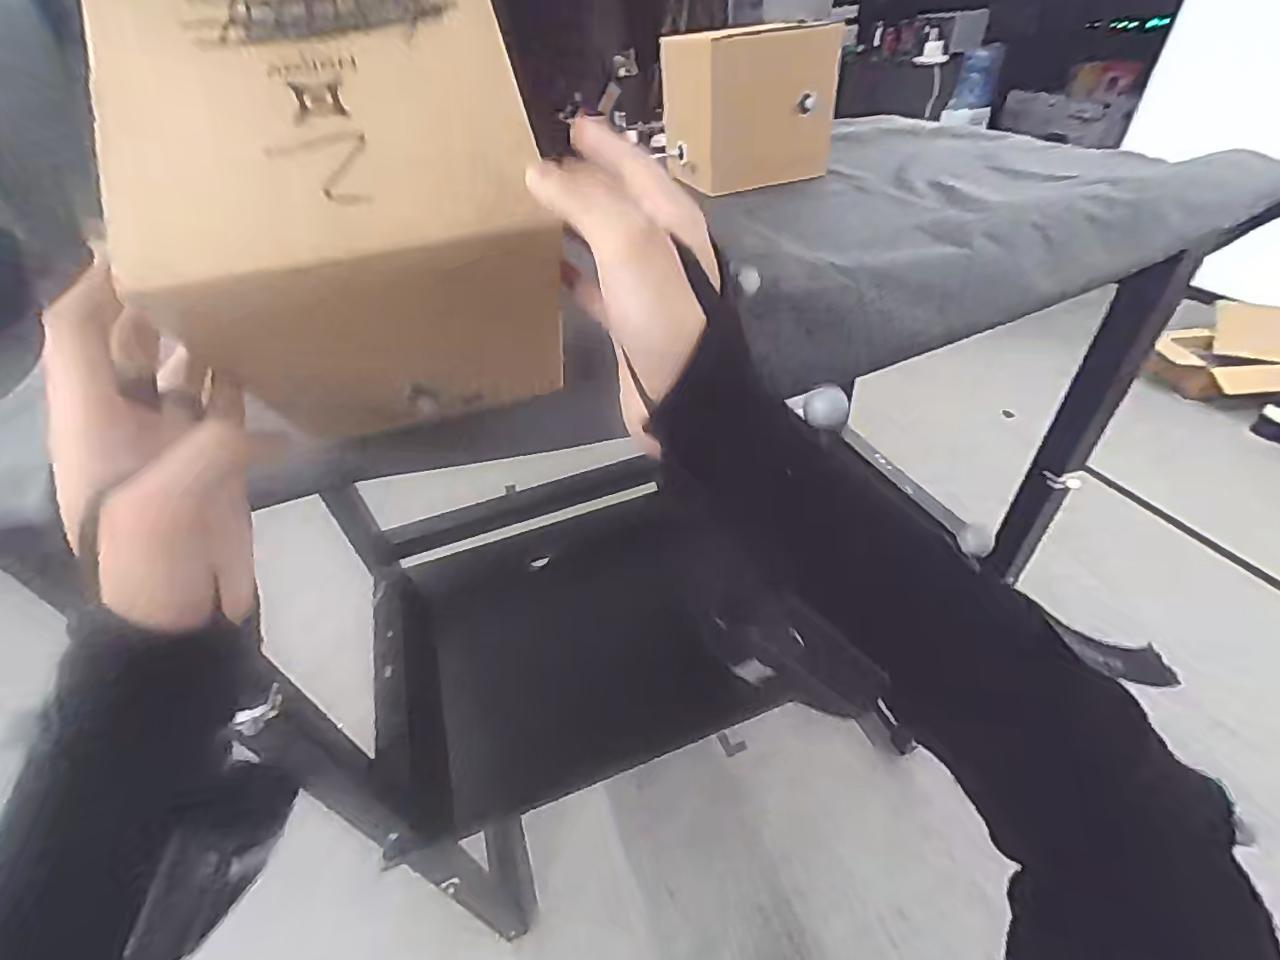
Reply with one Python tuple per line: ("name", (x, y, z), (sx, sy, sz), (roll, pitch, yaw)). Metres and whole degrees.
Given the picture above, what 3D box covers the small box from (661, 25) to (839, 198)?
("small box", (0.138, -0.501, 0.735), (0.179, 0.176, 0.168), (-16, 41, -11))
